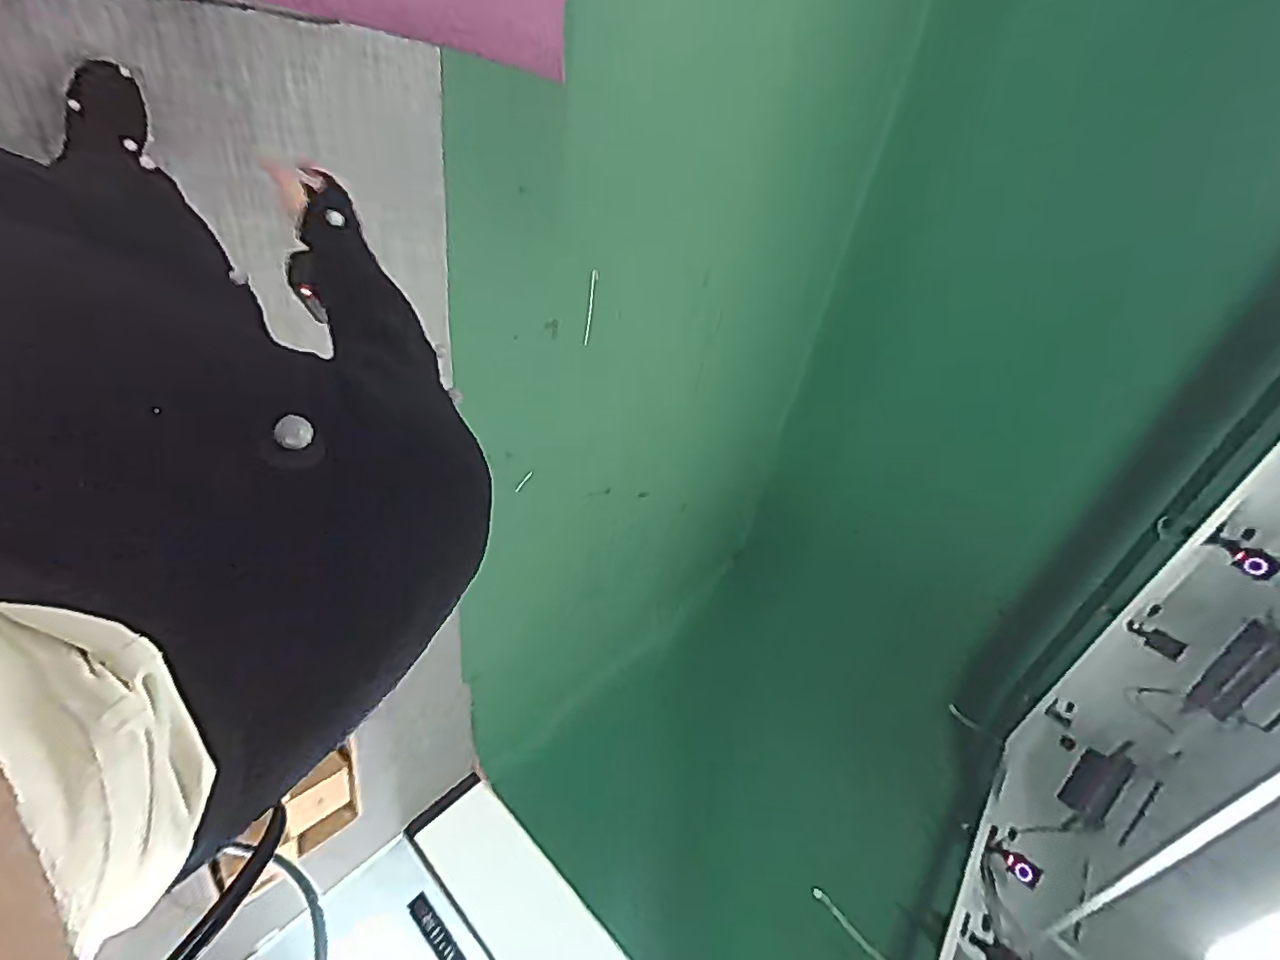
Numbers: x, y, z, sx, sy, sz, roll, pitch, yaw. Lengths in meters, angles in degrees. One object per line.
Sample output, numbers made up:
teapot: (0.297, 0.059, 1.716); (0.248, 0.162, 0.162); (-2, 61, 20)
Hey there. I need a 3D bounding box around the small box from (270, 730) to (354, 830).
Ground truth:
small box: (-0.984, 0.888, 1.623); (0.168, 0.176, 0.179); (-20, 133, -45)
